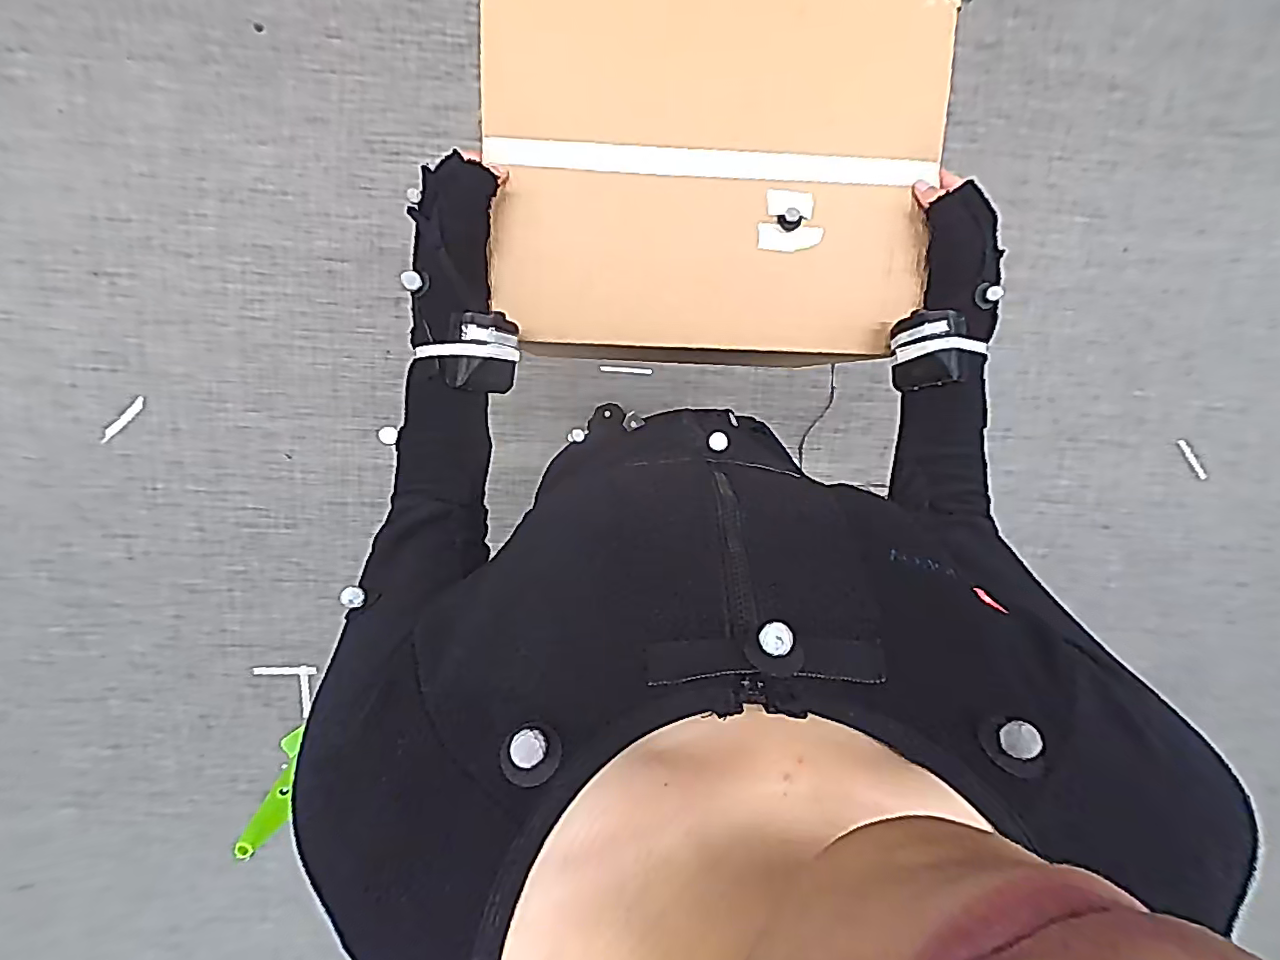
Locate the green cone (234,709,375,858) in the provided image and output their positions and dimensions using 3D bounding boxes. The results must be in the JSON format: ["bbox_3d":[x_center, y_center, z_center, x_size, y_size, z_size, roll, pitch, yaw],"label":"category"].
[{"bbox_3d":[-0.893,0.803,1.391,0.202,0.368,0.200,-34,97,5],"label":"green cone"}]

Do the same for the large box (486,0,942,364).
[{"bbox_3d":[0.054,-0.302,0.630,0.408,0.320,0.320,1,100,-4],"label":"large box"}]
